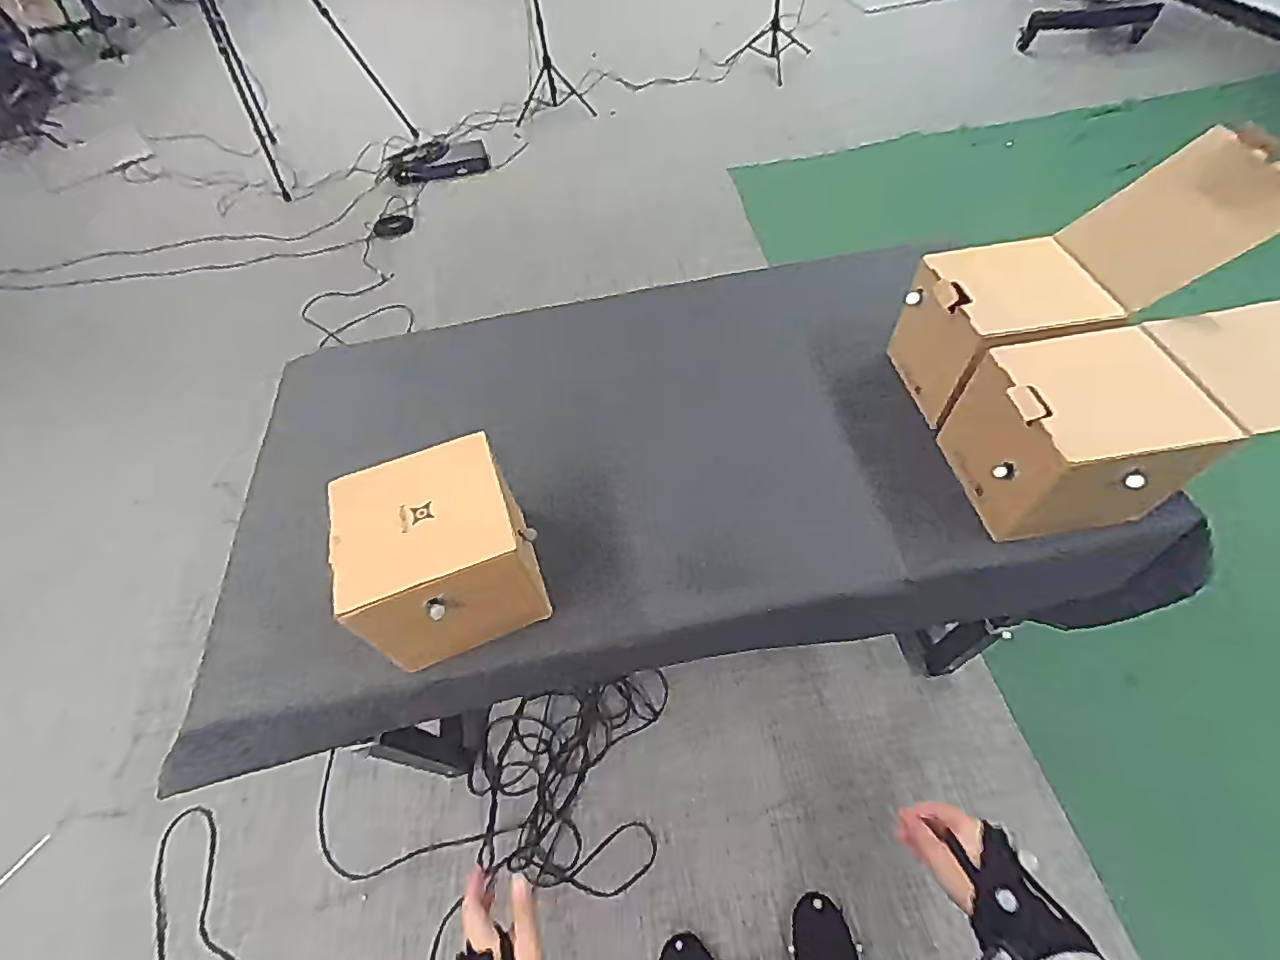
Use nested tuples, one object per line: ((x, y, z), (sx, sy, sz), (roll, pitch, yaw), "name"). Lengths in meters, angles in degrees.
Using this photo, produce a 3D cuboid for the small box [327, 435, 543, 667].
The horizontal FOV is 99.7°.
((-0.219, 0.084, 0.609), (0.179, 0.176, 0.168), (-21, 55, -8), "small box")
